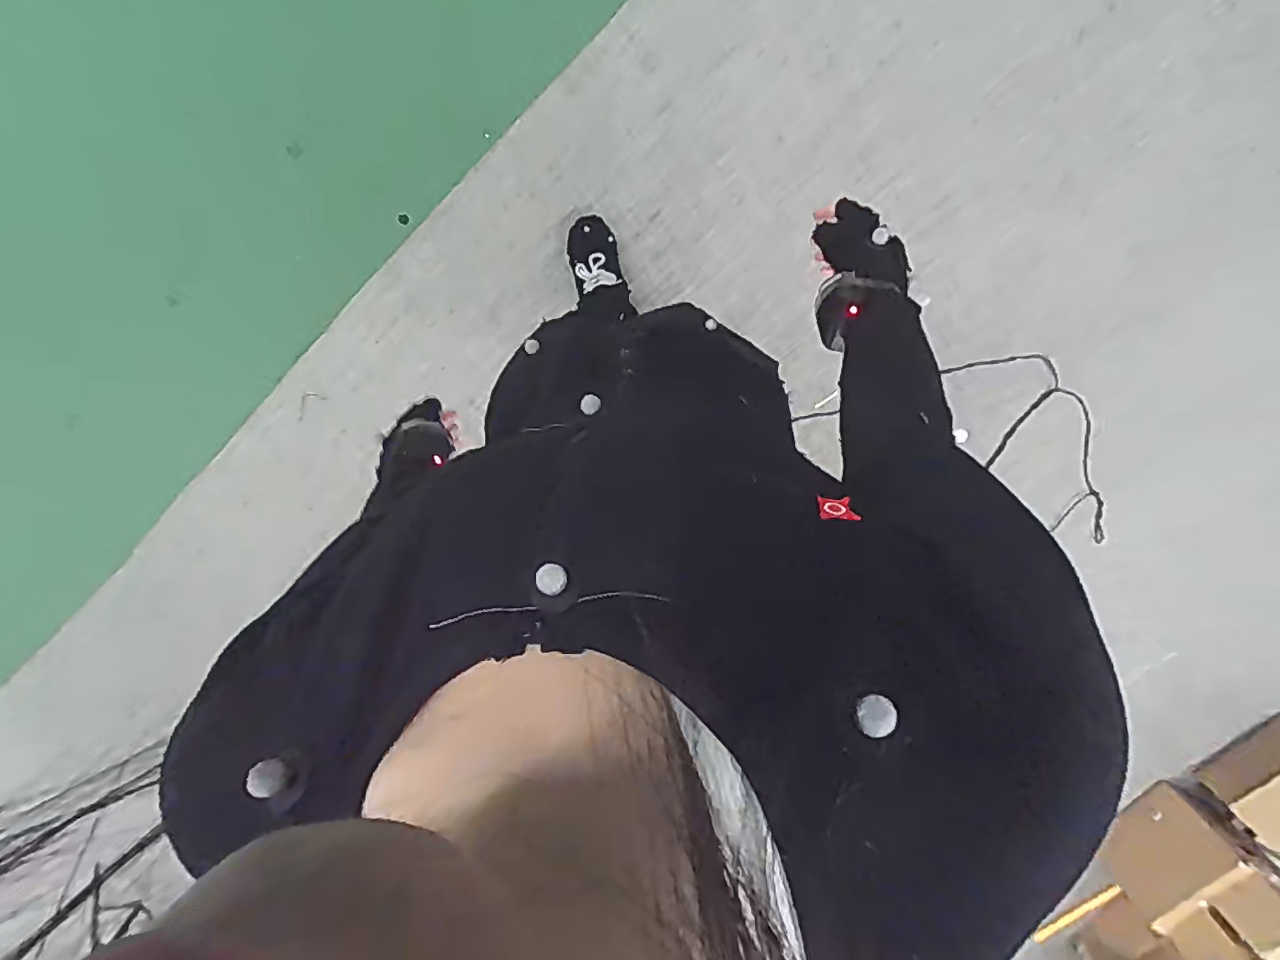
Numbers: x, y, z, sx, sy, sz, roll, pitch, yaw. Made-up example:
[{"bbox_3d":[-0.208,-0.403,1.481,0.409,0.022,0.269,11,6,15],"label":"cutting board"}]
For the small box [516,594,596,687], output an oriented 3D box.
[{"bbox_3d":[-0.249,0.481,1.644,0.168,0.176,0.179,39,108,-16],"label":"small box"}]
